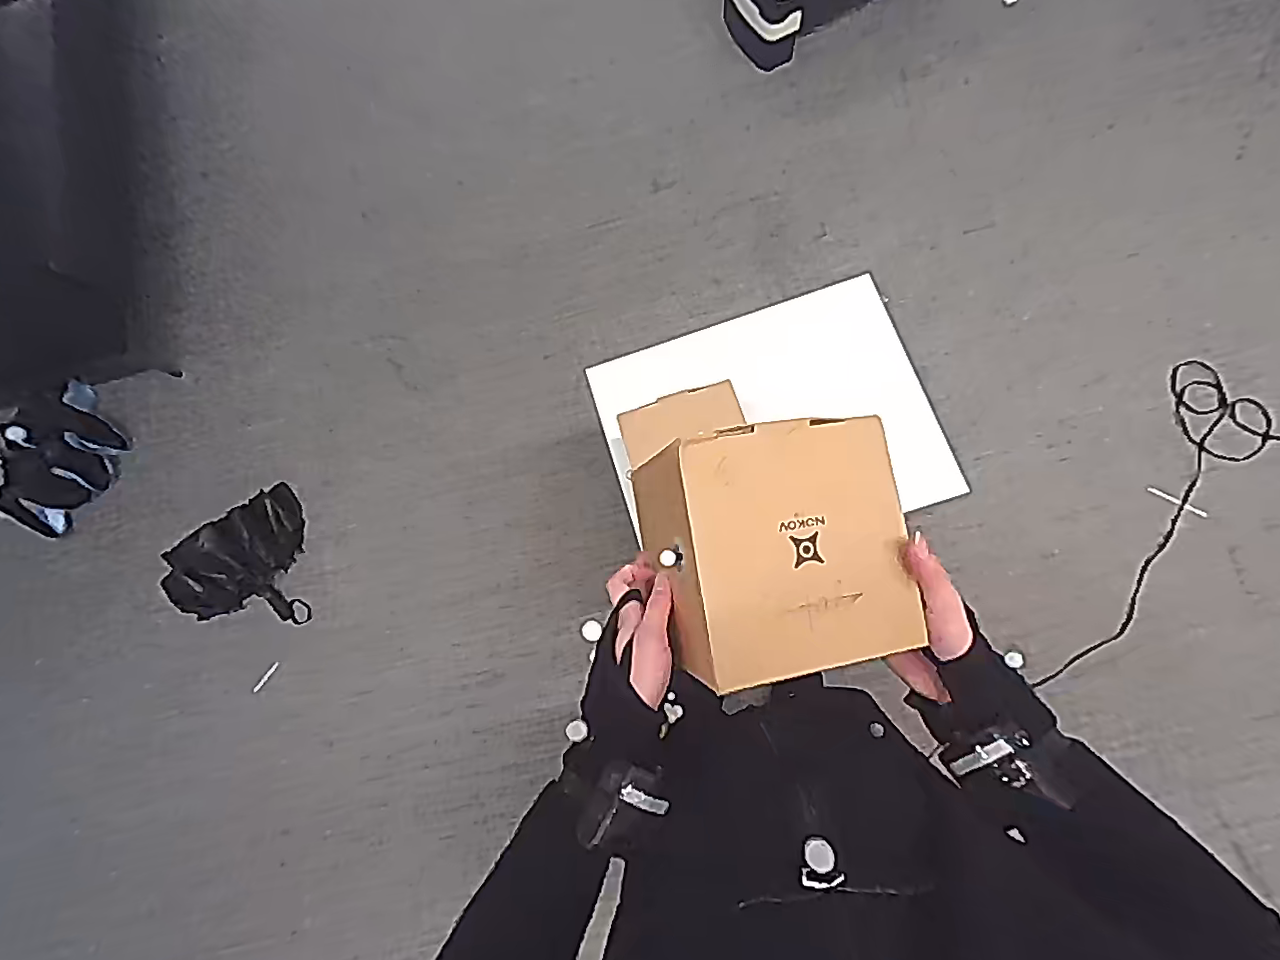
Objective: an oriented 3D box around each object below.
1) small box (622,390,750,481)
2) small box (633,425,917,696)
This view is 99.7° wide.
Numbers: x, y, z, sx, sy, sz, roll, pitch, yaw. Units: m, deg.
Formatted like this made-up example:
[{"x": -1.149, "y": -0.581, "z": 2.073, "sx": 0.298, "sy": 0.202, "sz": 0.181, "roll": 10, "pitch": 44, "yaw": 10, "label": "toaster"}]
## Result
[{"x": 0.081, "y": -0.002, "z": 0.794, "sx": 0.168, "sy": 0.176, "sz": 0.179, "roll": -17, "pitch": 75, "yaw": 3, "label": "small box"}, {"x": 0.095, "y": 0.062, "z": 0.462, "sx": 0.168, "sy": 0.176, "sz": 0.179, "roll": -7, "pitch": 84, "yaw": -12, "label": "small box"}]
